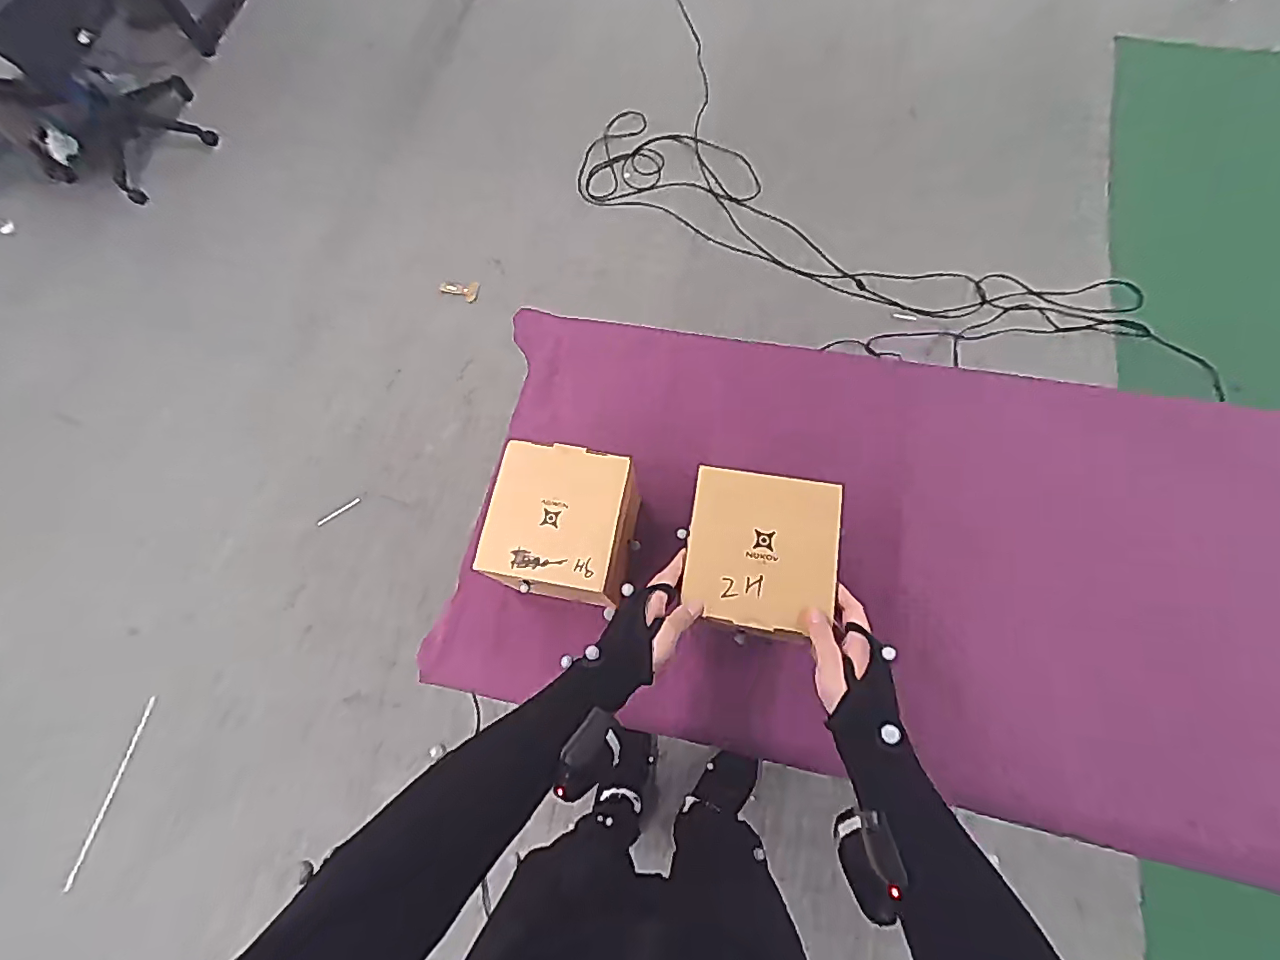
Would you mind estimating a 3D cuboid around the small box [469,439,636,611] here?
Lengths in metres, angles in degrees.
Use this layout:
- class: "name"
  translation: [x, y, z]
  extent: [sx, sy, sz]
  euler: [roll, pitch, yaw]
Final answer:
- class: "small box"
  translation: [-0.103, 0.068, 0.737]
  extent: [0.168, 0.176, 0.179]
  euler: [9, 70, 9]

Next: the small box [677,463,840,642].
- class: "small box"
  translation: [0.139, 0.098, 0.678]
  extent: [0.168, 0.176, 0.179]
  euler: [9, 73, 7]
